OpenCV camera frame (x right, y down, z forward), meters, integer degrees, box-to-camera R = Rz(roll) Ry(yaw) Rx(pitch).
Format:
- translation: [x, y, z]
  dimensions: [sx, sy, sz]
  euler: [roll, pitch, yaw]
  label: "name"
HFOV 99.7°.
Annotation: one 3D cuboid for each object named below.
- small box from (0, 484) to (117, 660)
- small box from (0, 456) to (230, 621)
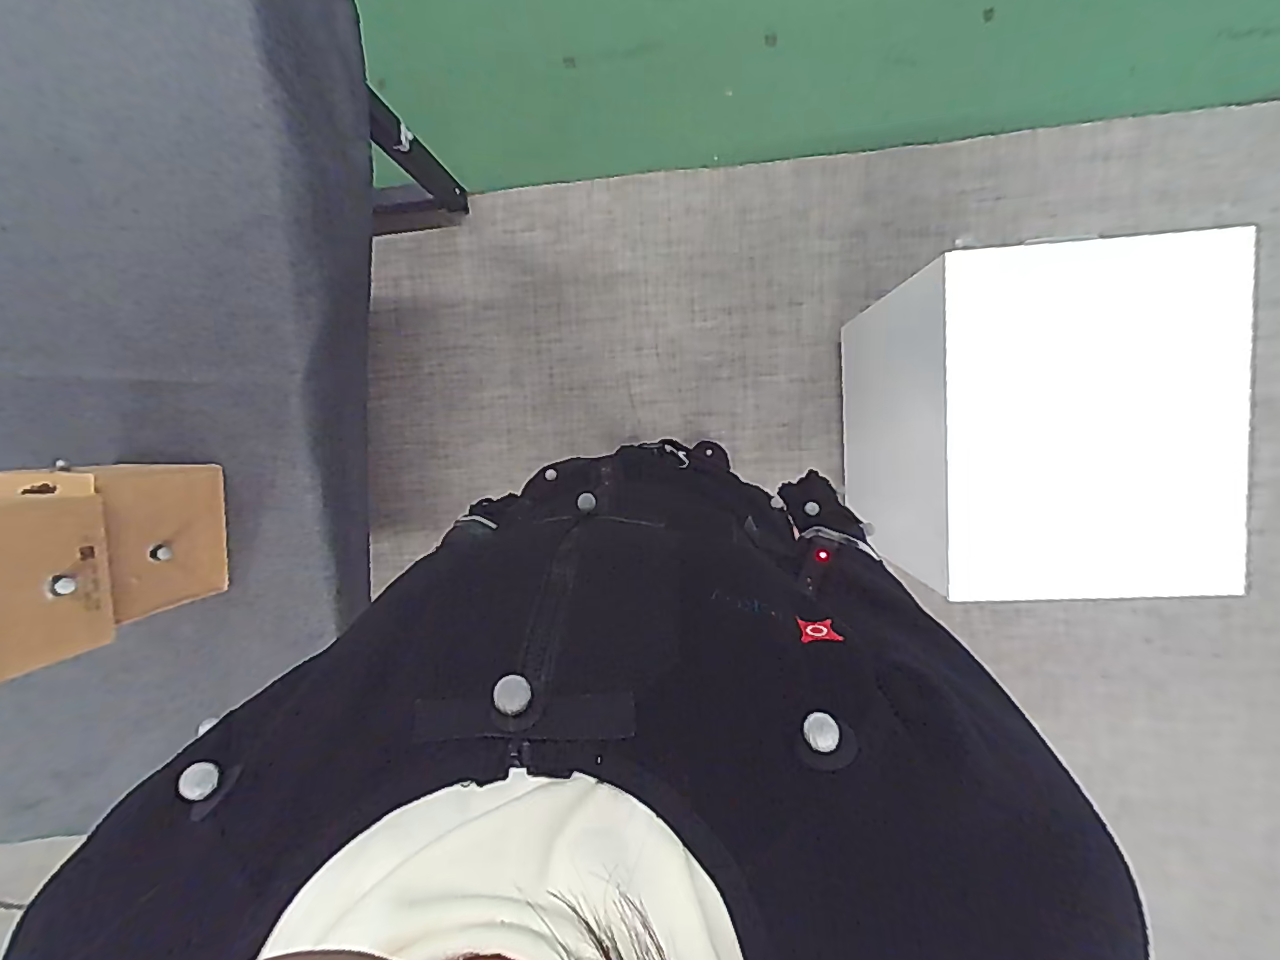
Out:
- translation: [-0.680, 0.094, 0.529]
  dimensions: [0.179, 0.176, 0.168]
  euler: [-3, 95, 8]
  label: "small box"
- translation: [-0.666, 0.064, 0.691]
  dimensions: [0.168, 0.176, 0.179]
  euler: [1, 96, 6]
  label: "small box"
